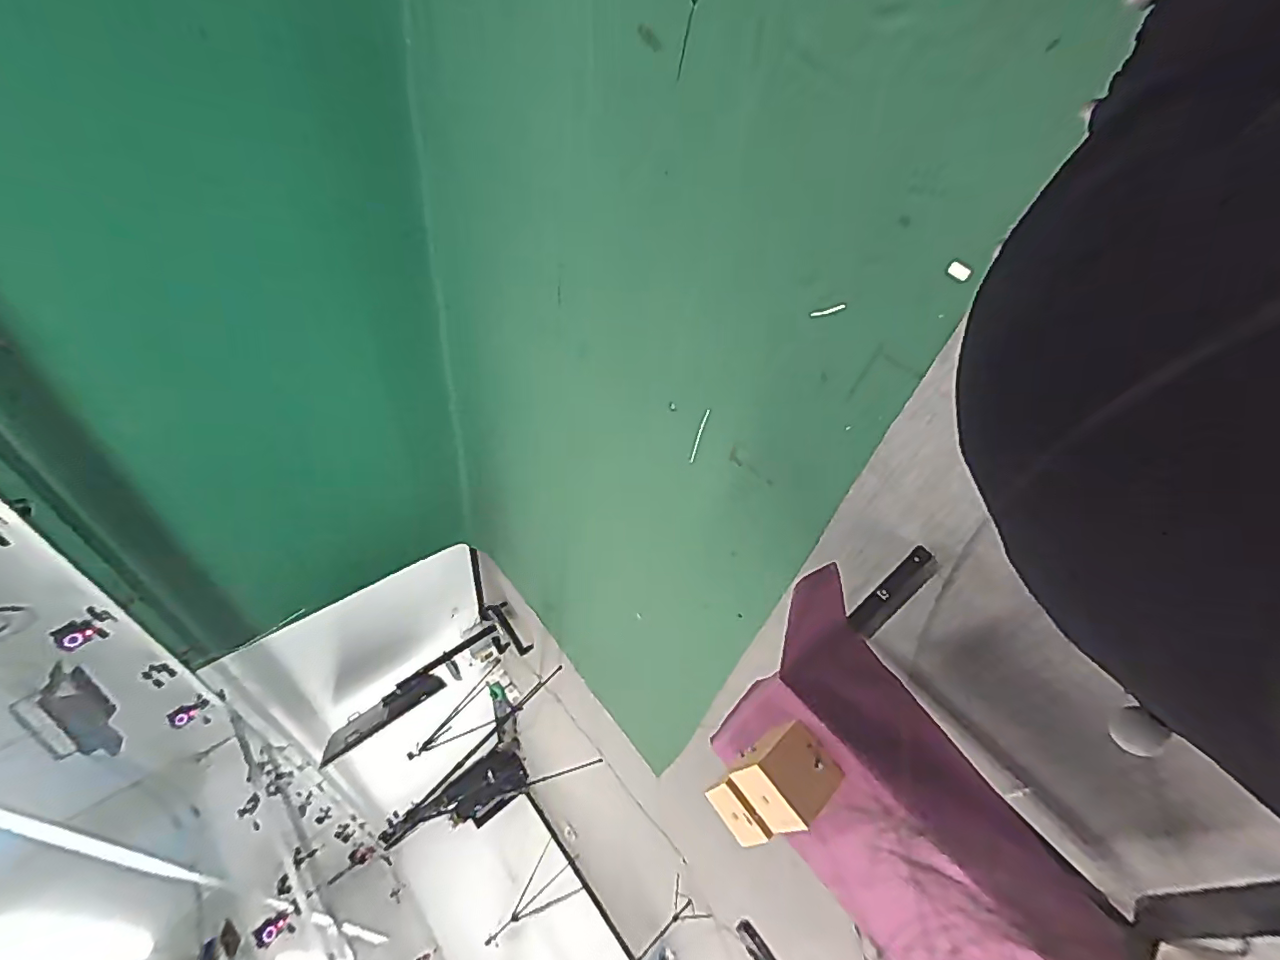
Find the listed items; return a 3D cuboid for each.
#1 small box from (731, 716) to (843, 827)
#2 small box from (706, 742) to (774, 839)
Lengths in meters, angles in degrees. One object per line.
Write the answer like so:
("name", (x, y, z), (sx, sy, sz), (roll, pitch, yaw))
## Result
("small box", (0.359, 0.710, 1.321), (0.168, 0.176, 0.179), (48, 146, 18))
("small box", (0.316, 0.851, 1.490), (0.168, 0.176, 0.179), (47, 146, 20))
